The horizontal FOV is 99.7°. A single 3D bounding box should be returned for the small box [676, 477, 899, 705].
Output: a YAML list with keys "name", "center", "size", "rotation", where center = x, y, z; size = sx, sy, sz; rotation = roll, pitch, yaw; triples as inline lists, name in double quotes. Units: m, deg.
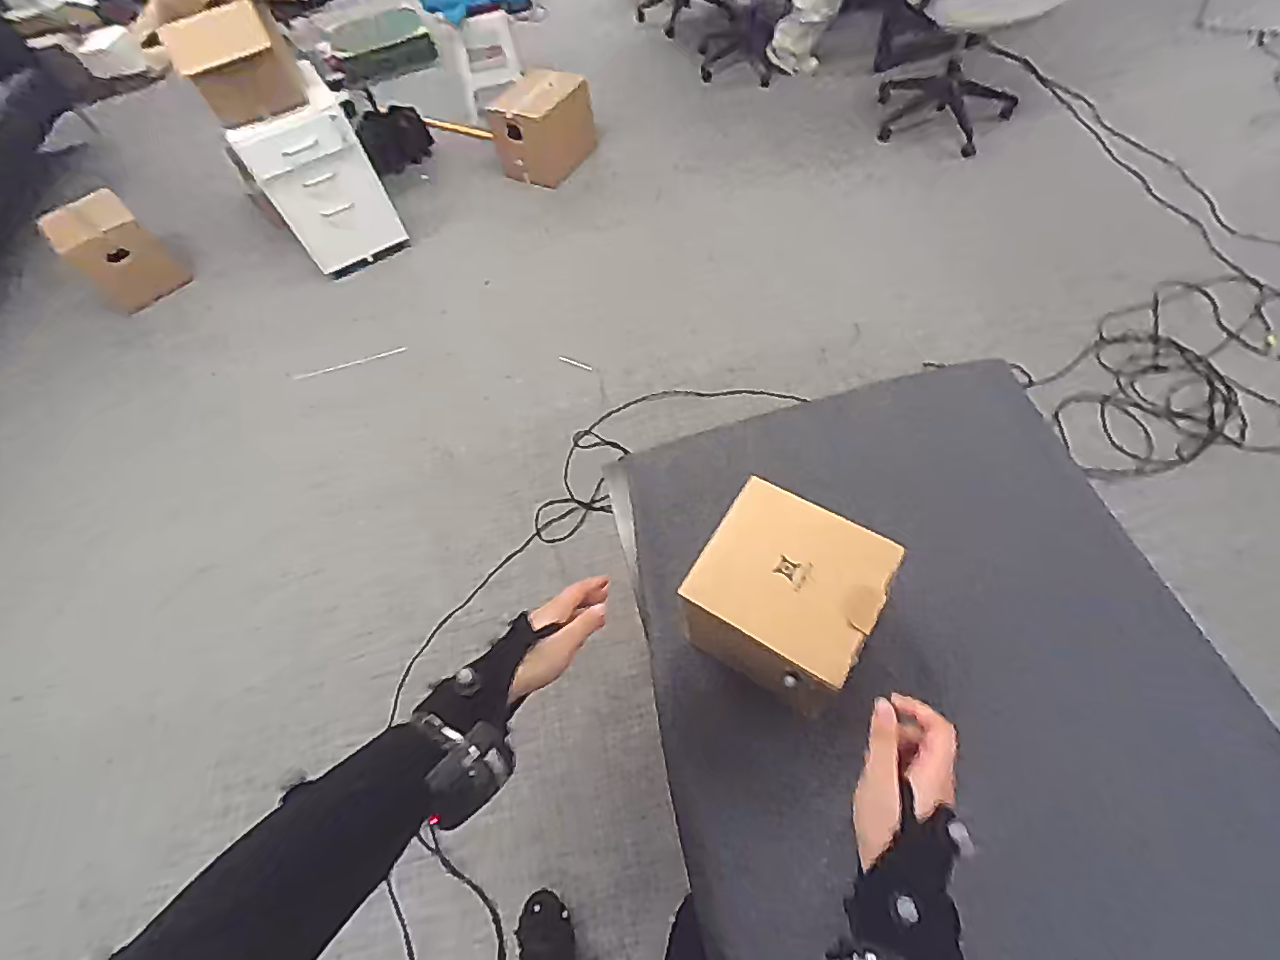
- name: "small box"
  center: [0.160, 0.132, 0.620]
  size: [0.179, 0.176, 0.168]
  rotation: [27, 65, 22]
